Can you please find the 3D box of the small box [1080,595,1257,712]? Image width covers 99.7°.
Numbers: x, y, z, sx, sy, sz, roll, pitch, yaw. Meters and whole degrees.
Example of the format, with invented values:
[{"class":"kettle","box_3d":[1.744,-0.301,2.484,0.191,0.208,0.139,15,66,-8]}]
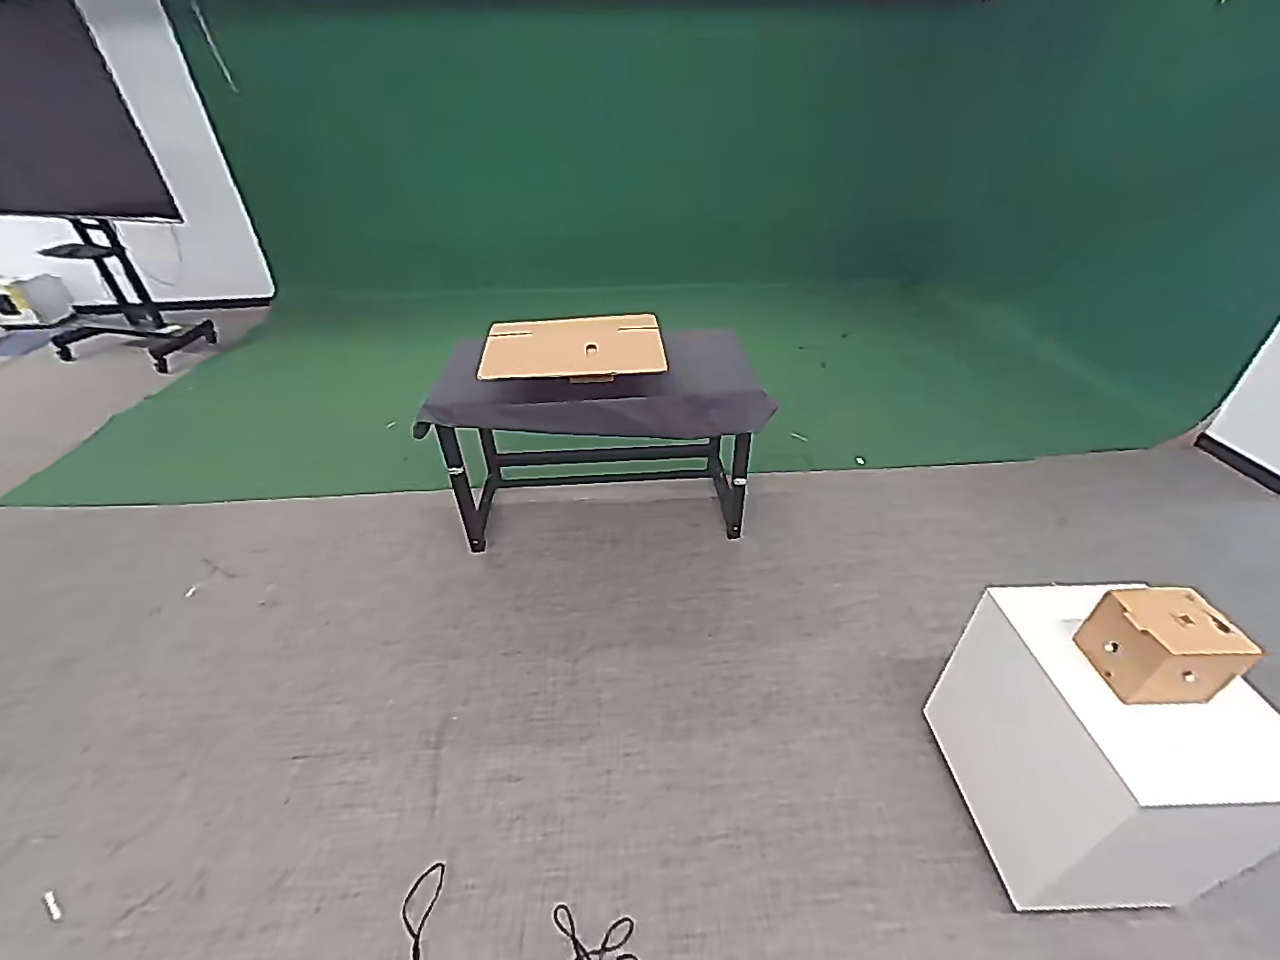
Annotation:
[{"class":"small box","box_3d":[1.057,0.356,1.108,0.179,0.176,0.168,-2,35,-3]}]
